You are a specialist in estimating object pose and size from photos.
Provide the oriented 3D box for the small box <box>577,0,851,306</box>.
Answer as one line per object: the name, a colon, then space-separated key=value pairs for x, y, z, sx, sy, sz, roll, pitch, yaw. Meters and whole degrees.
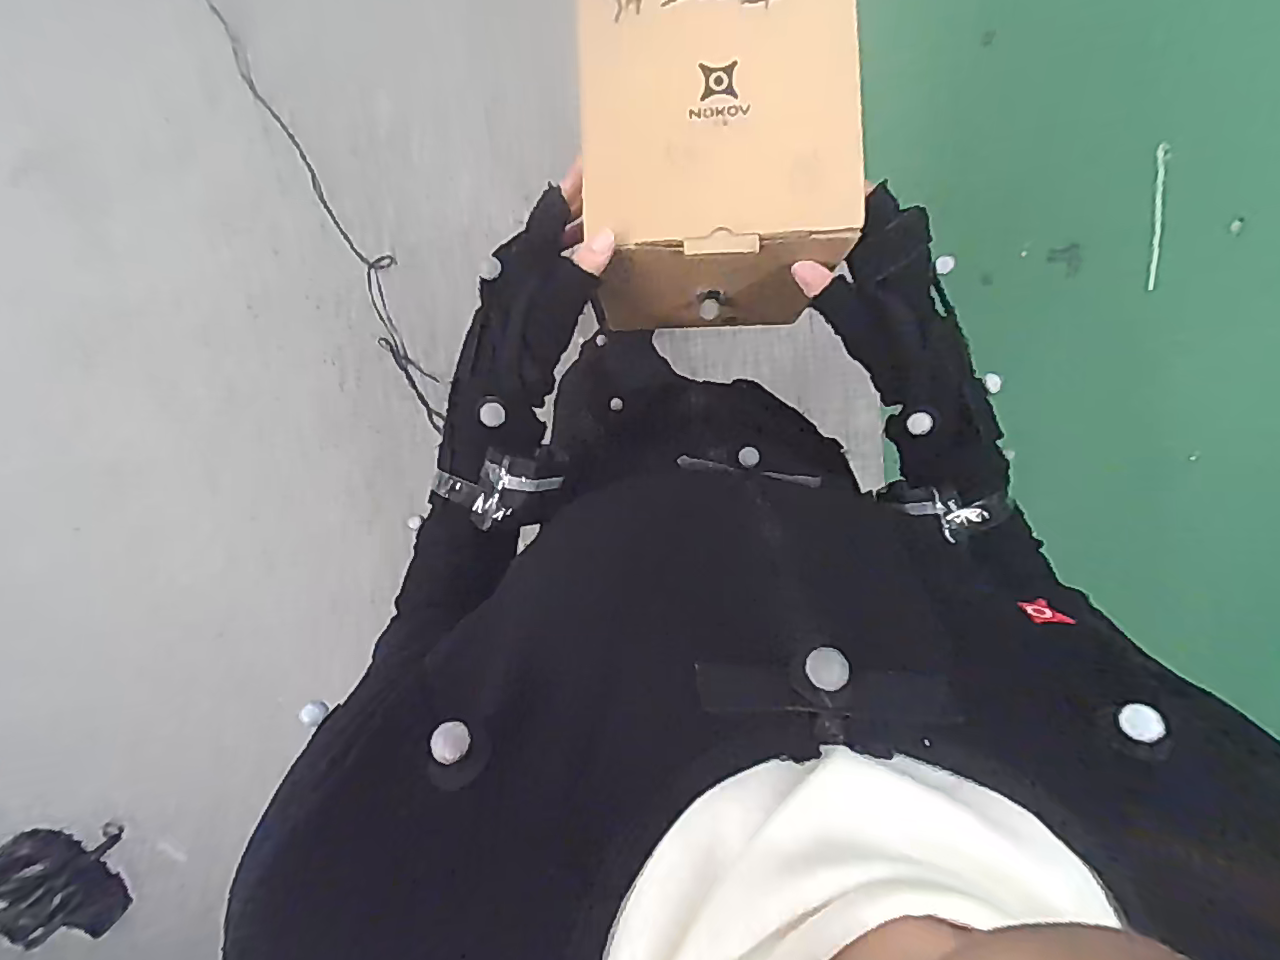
small box: x=0.049 y=-0.239 z=0.406 sx=0.168 sy=0.176 sz=0.179 roll=-2 pitch=90 yaw=3
